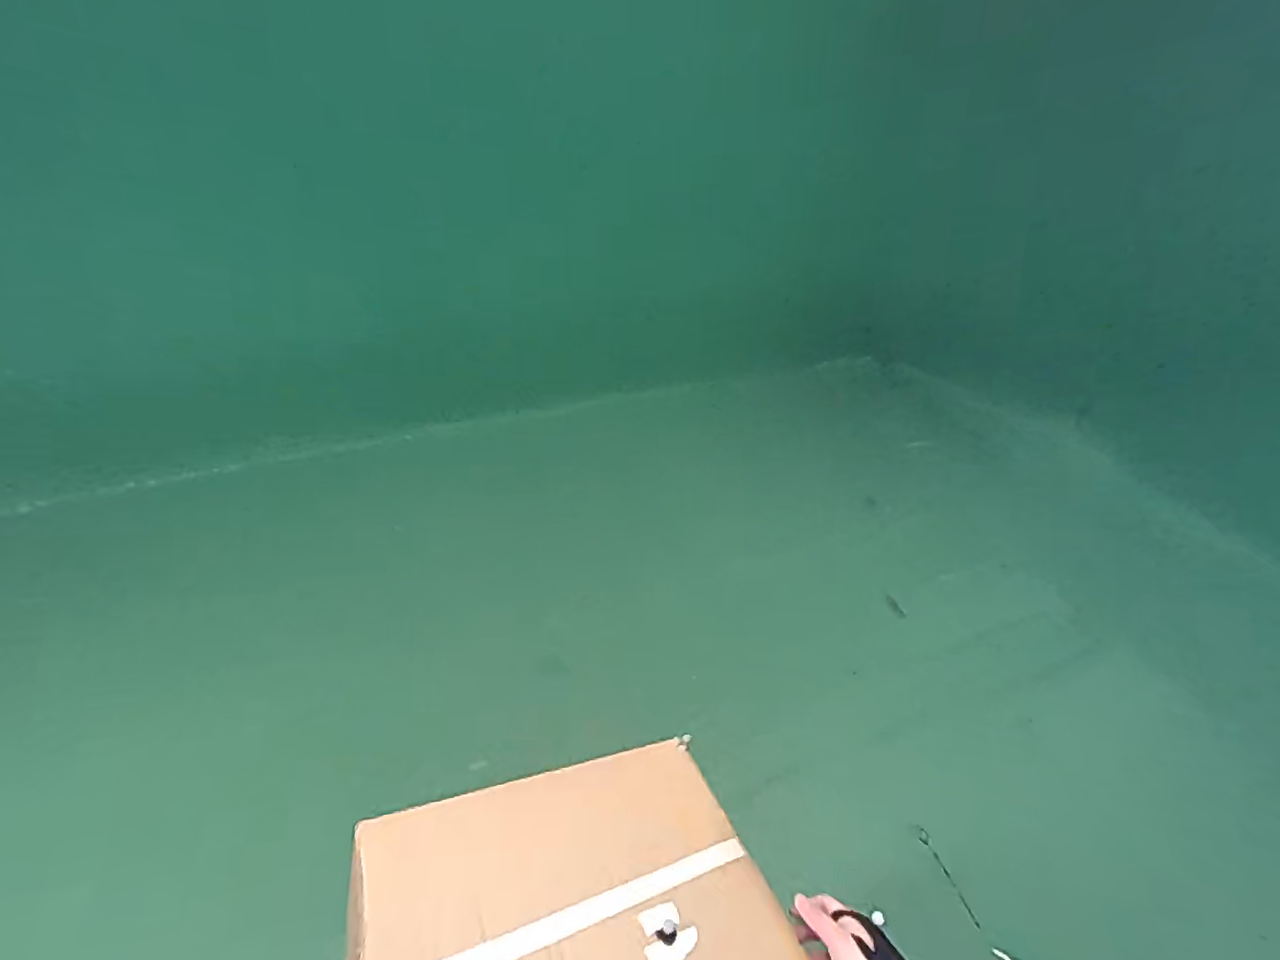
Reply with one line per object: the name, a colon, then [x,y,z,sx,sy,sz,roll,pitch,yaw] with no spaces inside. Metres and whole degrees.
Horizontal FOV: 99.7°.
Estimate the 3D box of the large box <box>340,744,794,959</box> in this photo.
large box: [-0.101,0.577,0.617,0.408,0.320,0.320,3,29,-33]
